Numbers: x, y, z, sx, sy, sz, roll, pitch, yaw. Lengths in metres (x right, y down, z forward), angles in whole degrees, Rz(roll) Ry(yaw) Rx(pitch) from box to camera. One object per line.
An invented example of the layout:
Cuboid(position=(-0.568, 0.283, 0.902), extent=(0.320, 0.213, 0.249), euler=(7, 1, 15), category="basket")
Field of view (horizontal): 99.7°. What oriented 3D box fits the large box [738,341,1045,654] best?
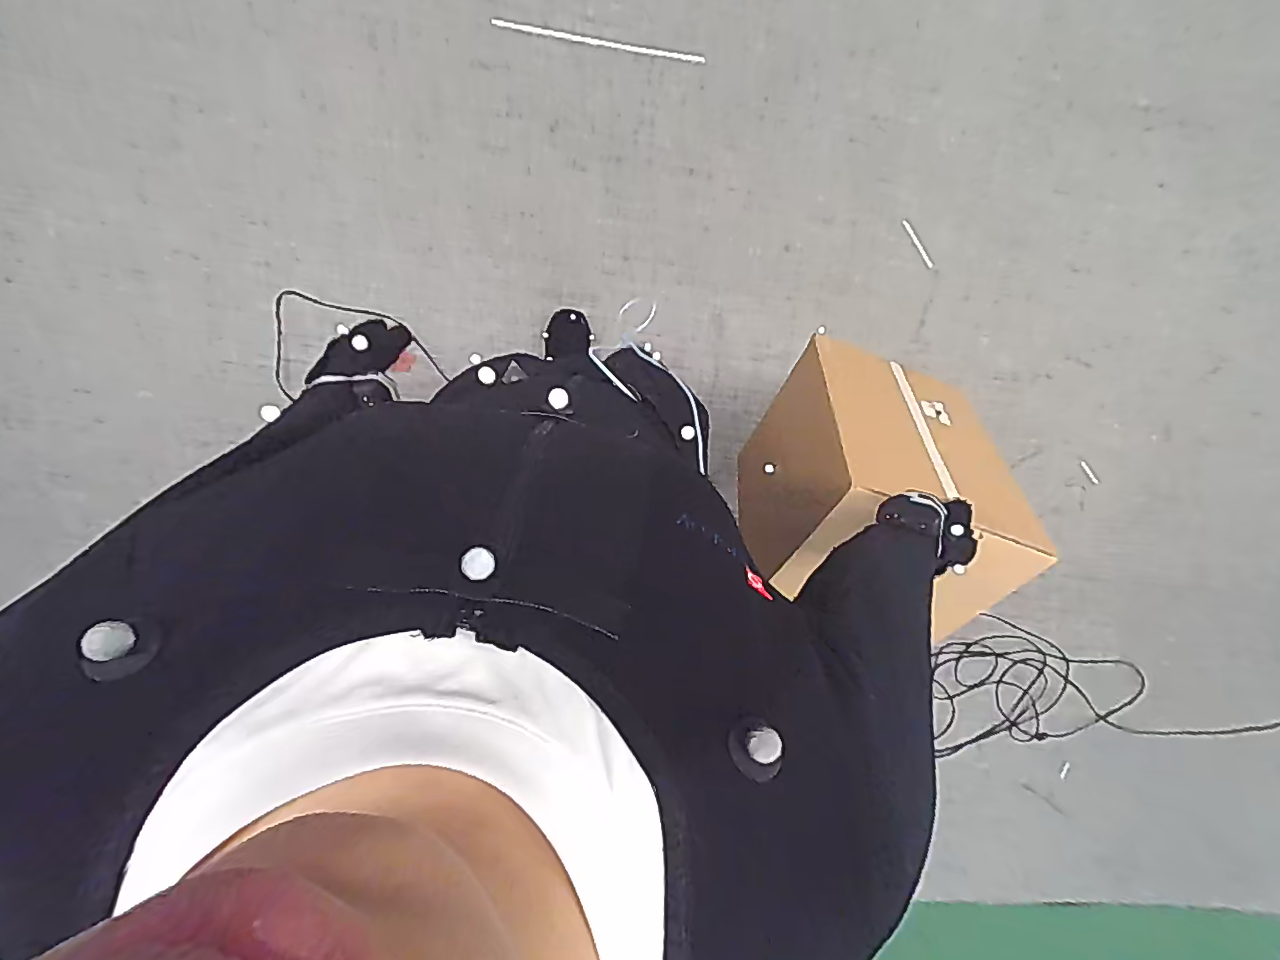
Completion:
Cuboid(position=(0.379, 0.028, 0.951), extent=(0.320, 0.408, 0.320), euler=(19, 132, -9), category="large box")
